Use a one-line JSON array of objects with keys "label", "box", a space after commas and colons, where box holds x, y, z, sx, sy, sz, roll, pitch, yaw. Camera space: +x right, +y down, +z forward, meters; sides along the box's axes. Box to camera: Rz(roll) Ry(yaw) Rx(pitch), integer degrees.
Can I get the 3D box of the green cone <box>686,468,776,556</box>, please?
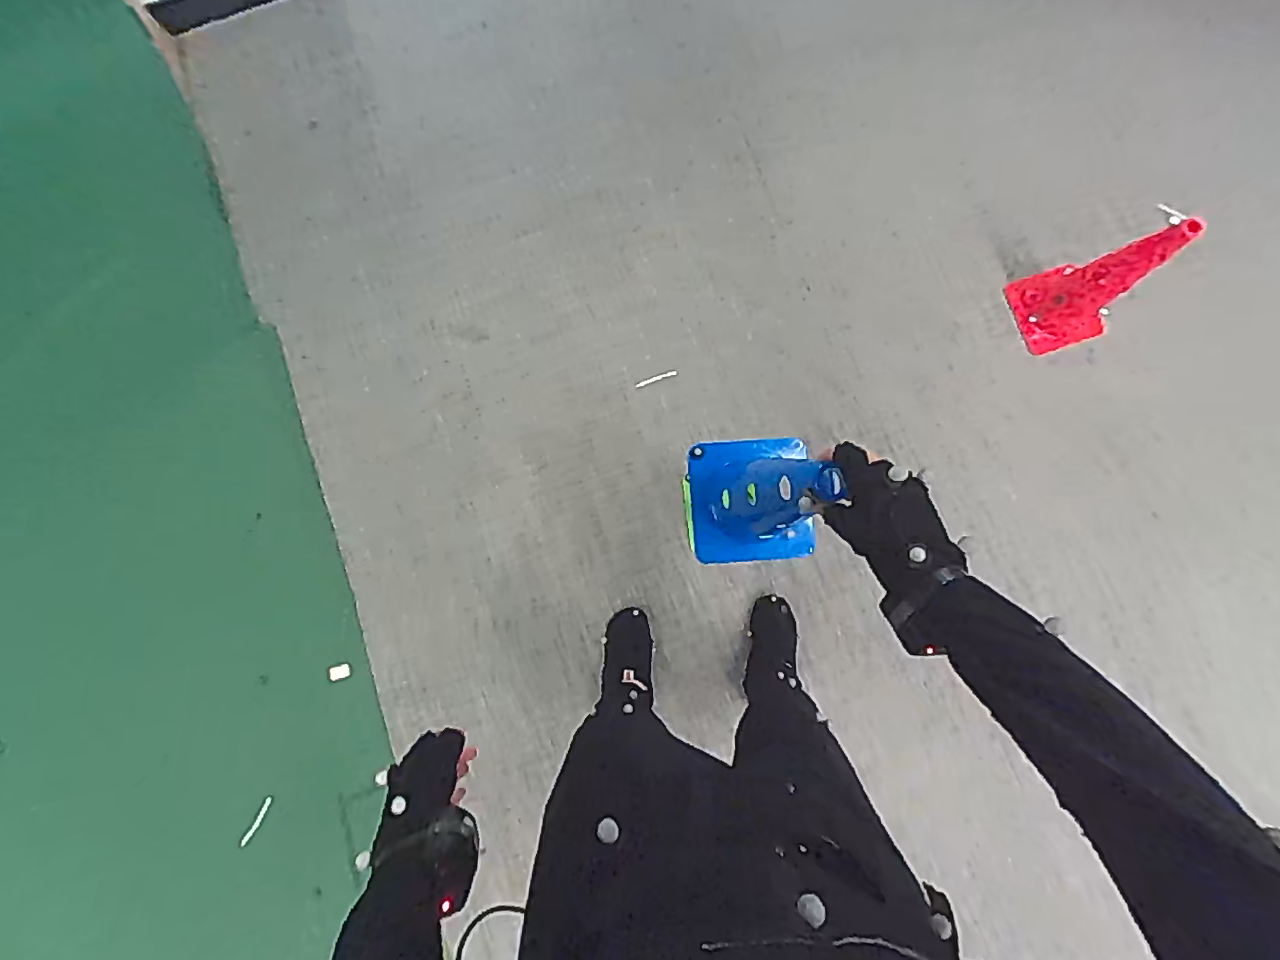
[{"label": "green cone", "box": [0.218, 0.052, 1.153, 0.202, 0.368, 0.200, -7, 81, 0]}]
